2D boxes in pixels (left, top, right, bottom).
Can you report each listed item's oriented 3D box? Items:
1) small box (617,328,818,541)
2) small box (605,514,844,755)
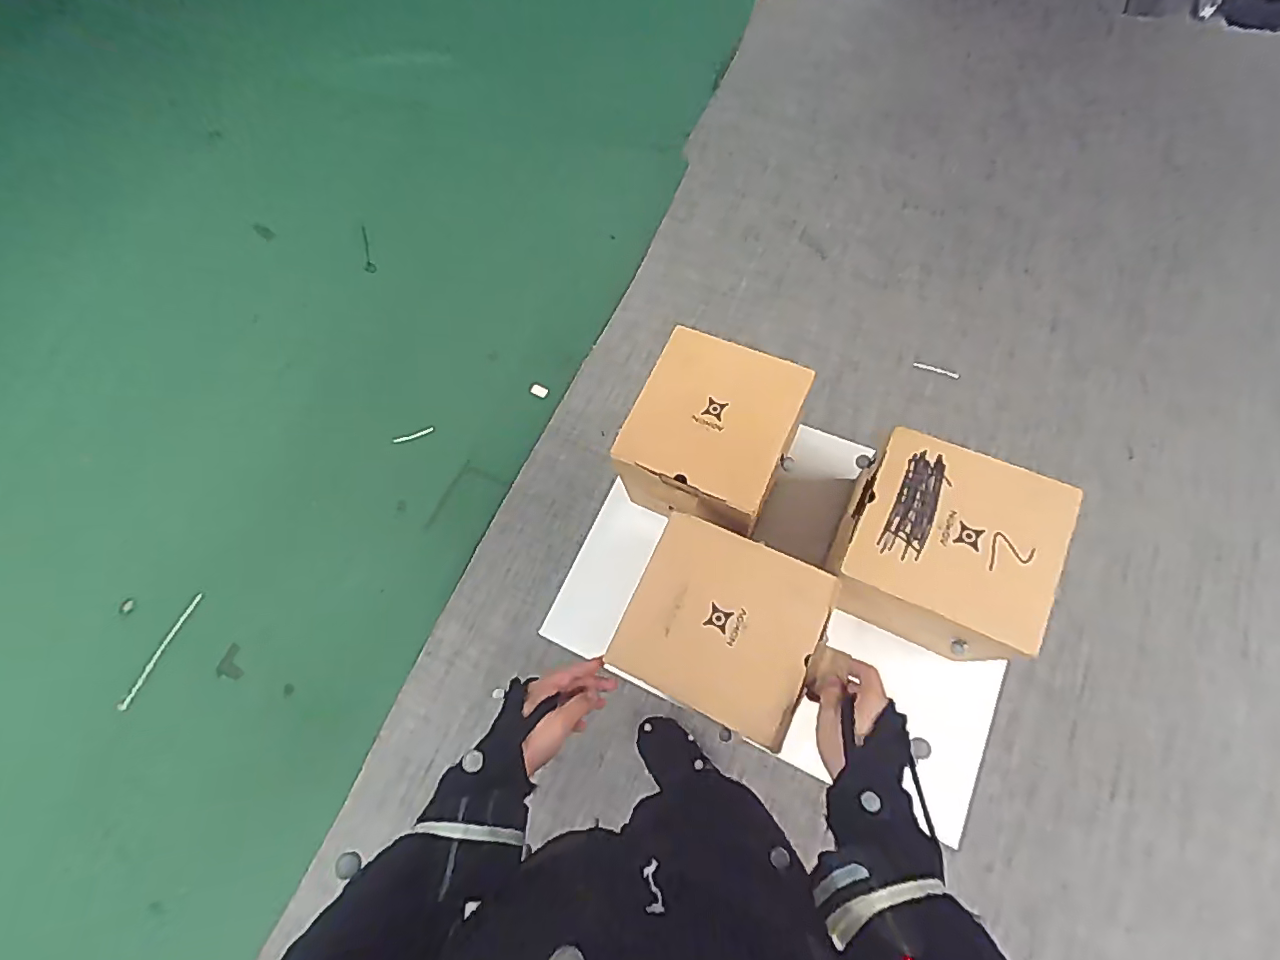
[{"bbox_3d":[0.091,-0.043,0.648,0.168,0.176,0.179,22,75,14],"label":"small box"},{"bbox_3d":[0.089,0.161,0.574,0.179,0.176,0.168,22,72,16],"label":"small box"}]
